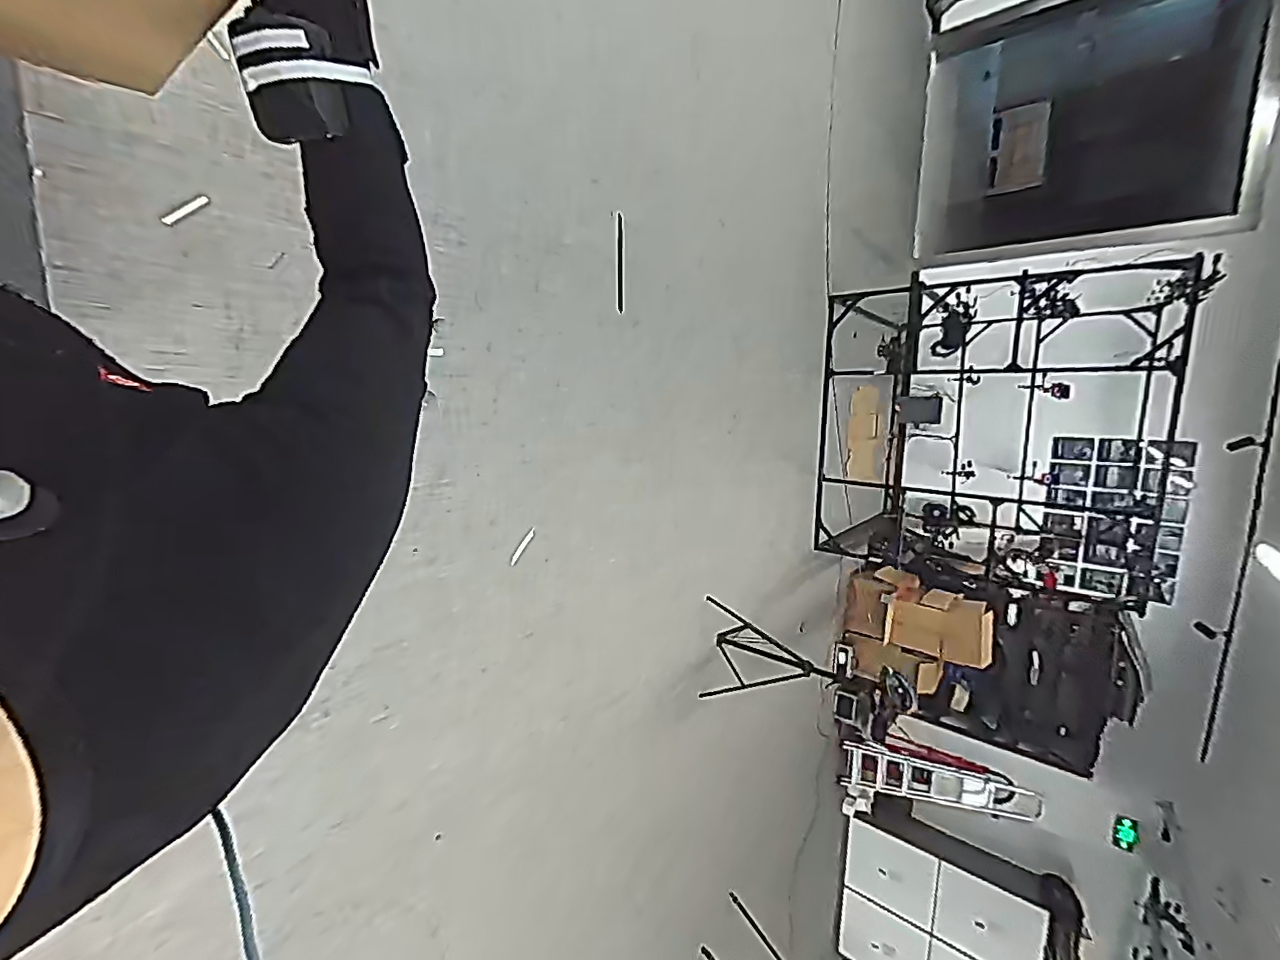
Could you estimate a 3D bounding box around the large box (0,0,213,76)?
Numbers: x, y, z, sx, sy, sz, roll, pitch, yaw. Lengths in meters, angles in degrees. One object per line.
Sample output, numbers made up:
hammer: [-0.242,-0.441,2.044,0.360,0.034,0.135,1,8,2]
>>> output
large box: [-0.476,-0.454,0.236,0.408,0.320,0.320,-14,116,-47]
